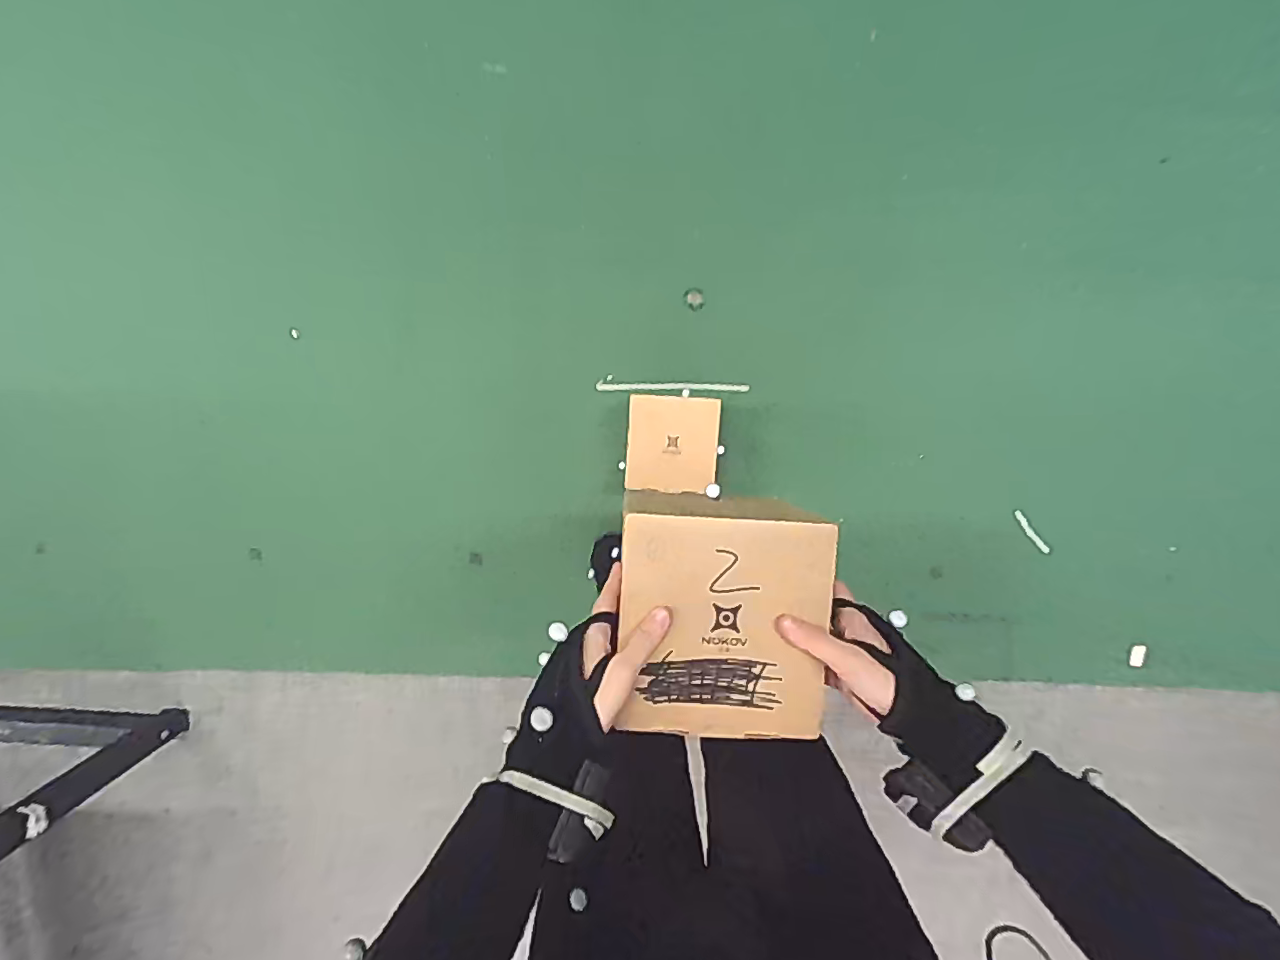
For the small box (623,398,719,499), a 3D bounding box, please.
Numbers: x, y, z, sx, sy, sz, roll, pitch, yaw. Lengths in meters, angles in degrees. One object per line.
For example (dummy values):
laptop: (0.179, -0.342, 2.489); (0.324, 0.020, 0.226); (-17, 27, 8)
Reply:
small box: (0.056, -0.068, 1.059); (0.168, 0.176, 0.179); (4, 99, 1)
